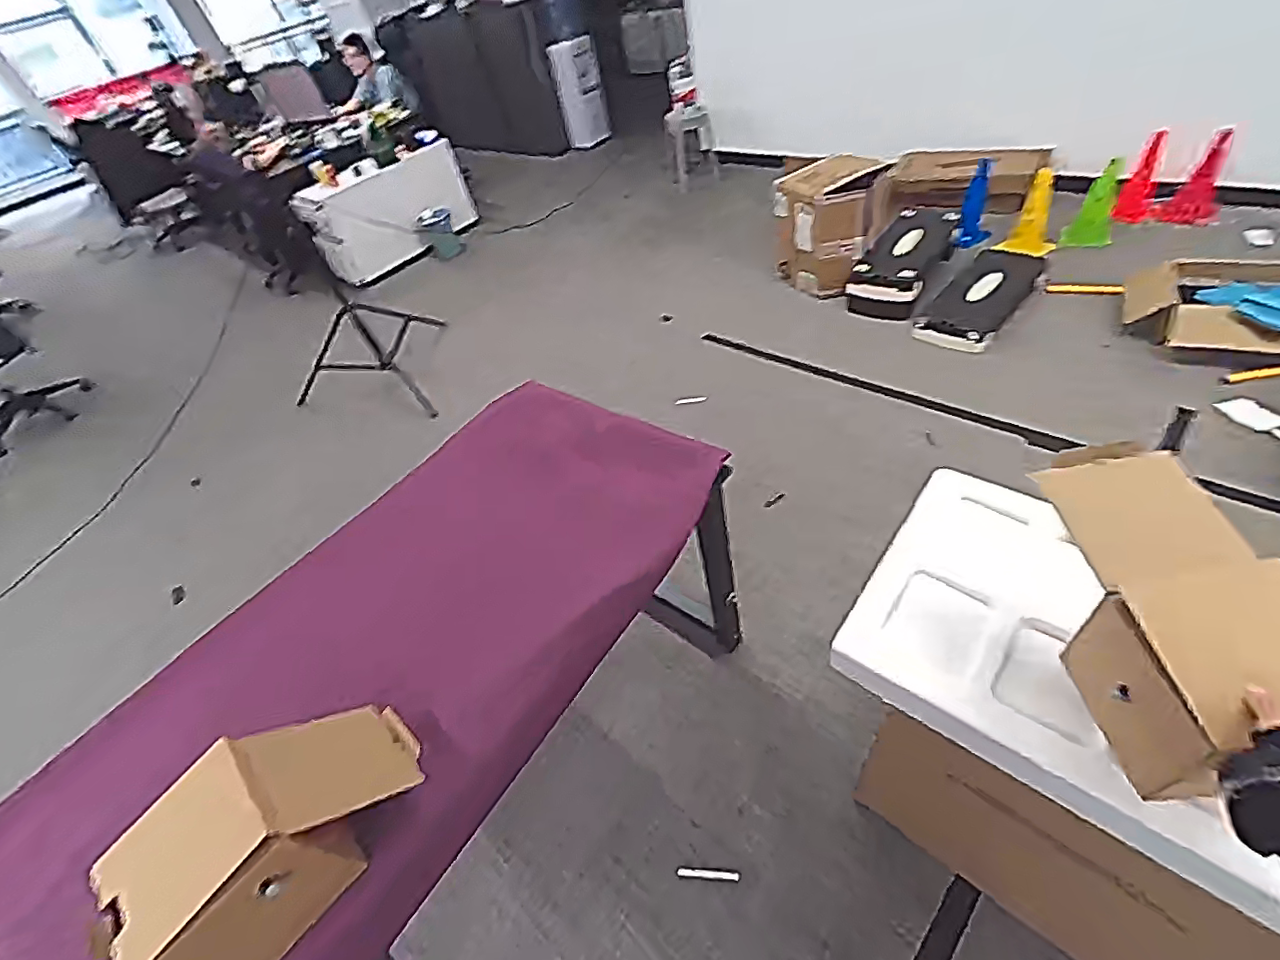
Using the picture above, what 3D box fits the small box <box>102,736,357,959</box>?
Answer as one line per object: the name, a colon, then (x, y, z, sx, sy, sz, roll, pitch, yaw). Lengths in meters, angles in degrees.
small box: (-0.482, 0.461, 0.661, 0.168, 0.176, 0.179, 28, 60, 36)
